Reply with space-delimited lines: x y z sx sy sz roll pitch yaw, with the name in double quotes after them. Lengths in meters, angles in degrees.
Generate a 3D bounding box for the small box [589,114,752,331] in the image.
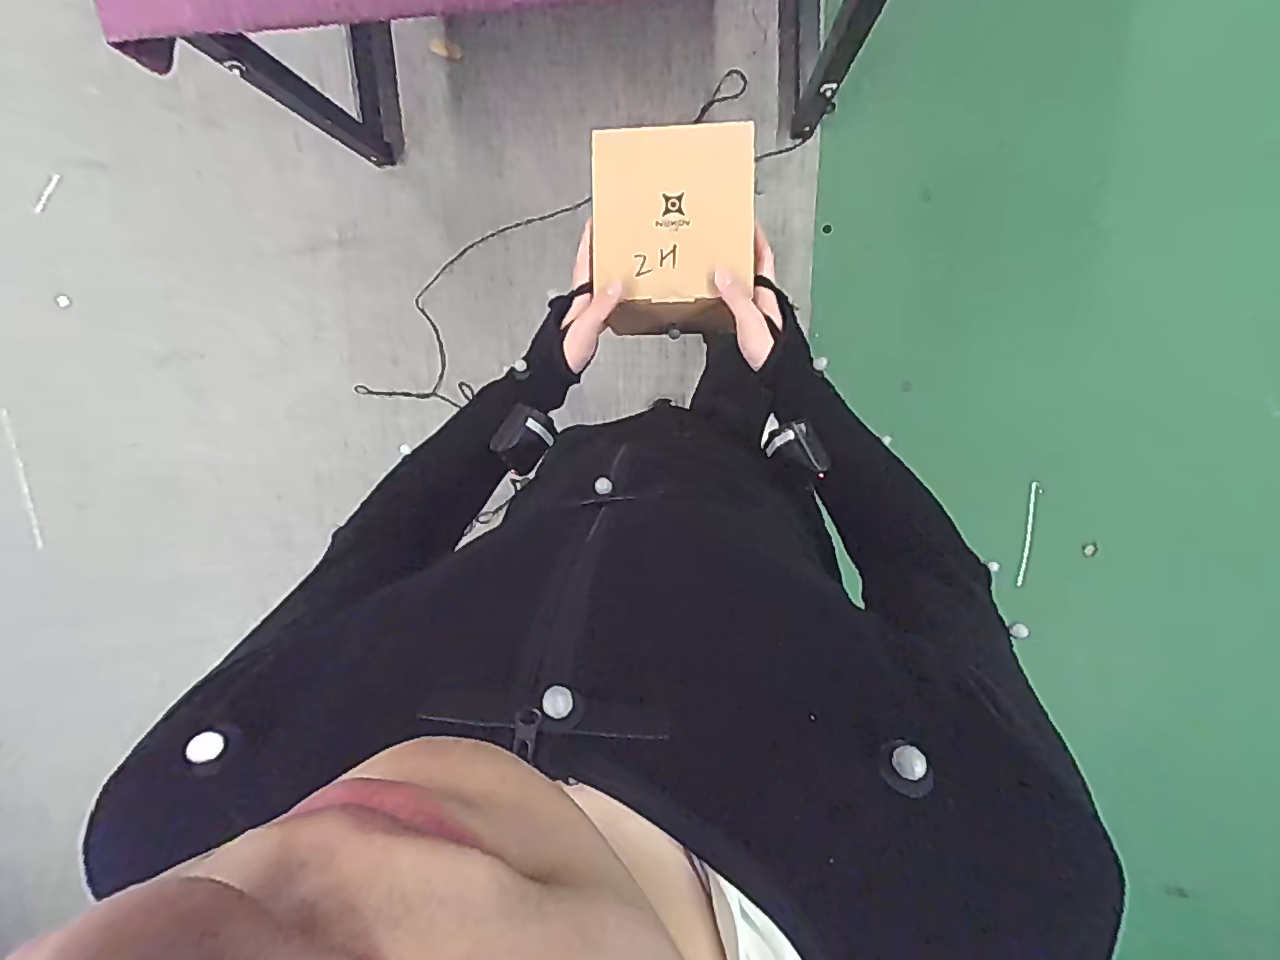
0.037 -0.280 0.625 0.168 0.176 0.179 0 93 6 "small box"
